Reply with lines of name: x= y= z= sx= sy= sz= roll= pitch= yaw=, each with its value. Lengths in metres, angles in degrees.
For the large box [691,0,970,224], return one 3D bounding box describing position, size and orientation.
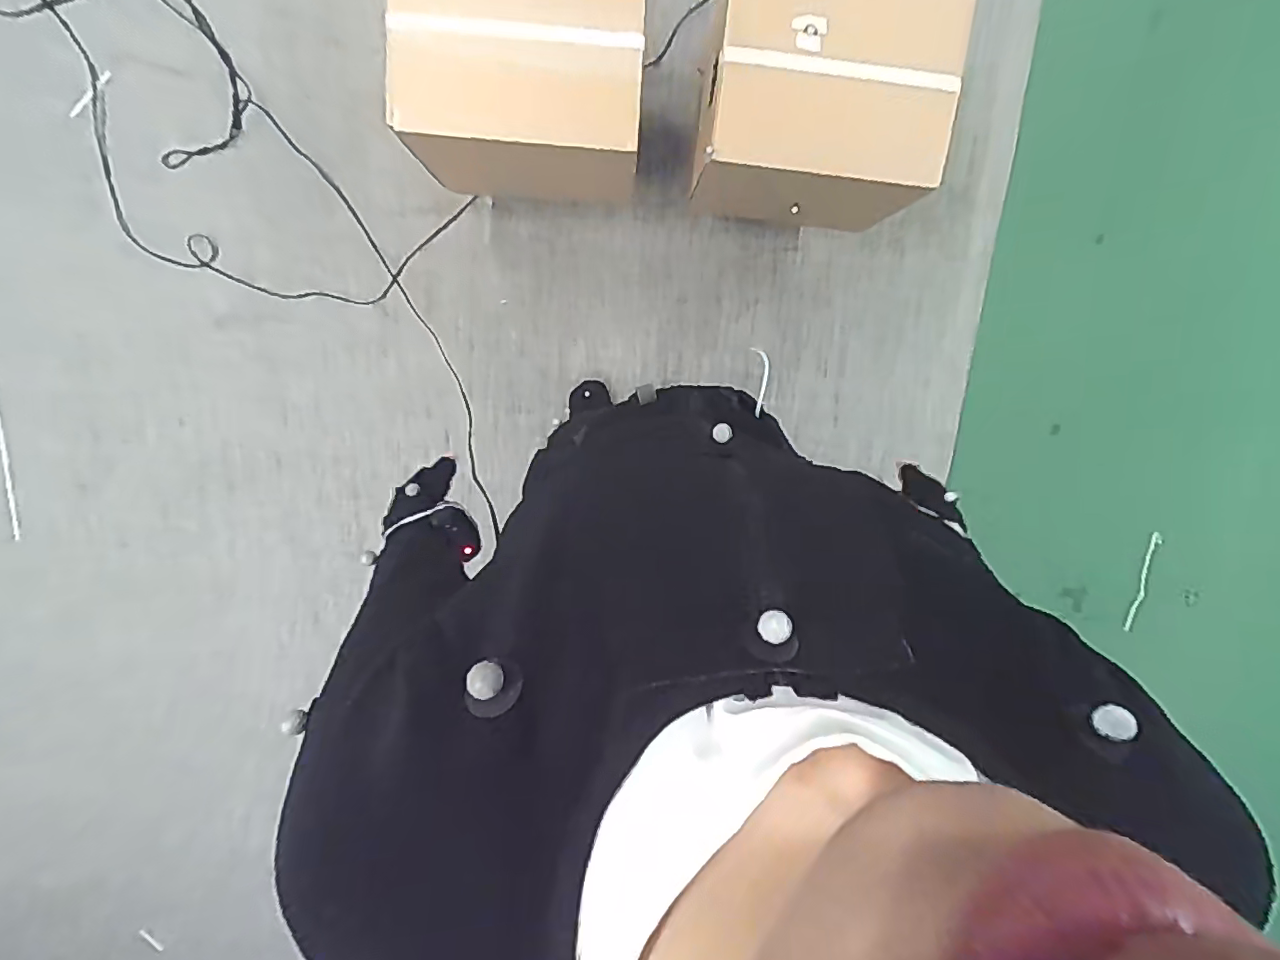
large box: x=0.330 y=-0.713 z=1.051 sx=0.408 sy=0.320 sz=0.320 roll=6 pitch=101 yaw=-3
